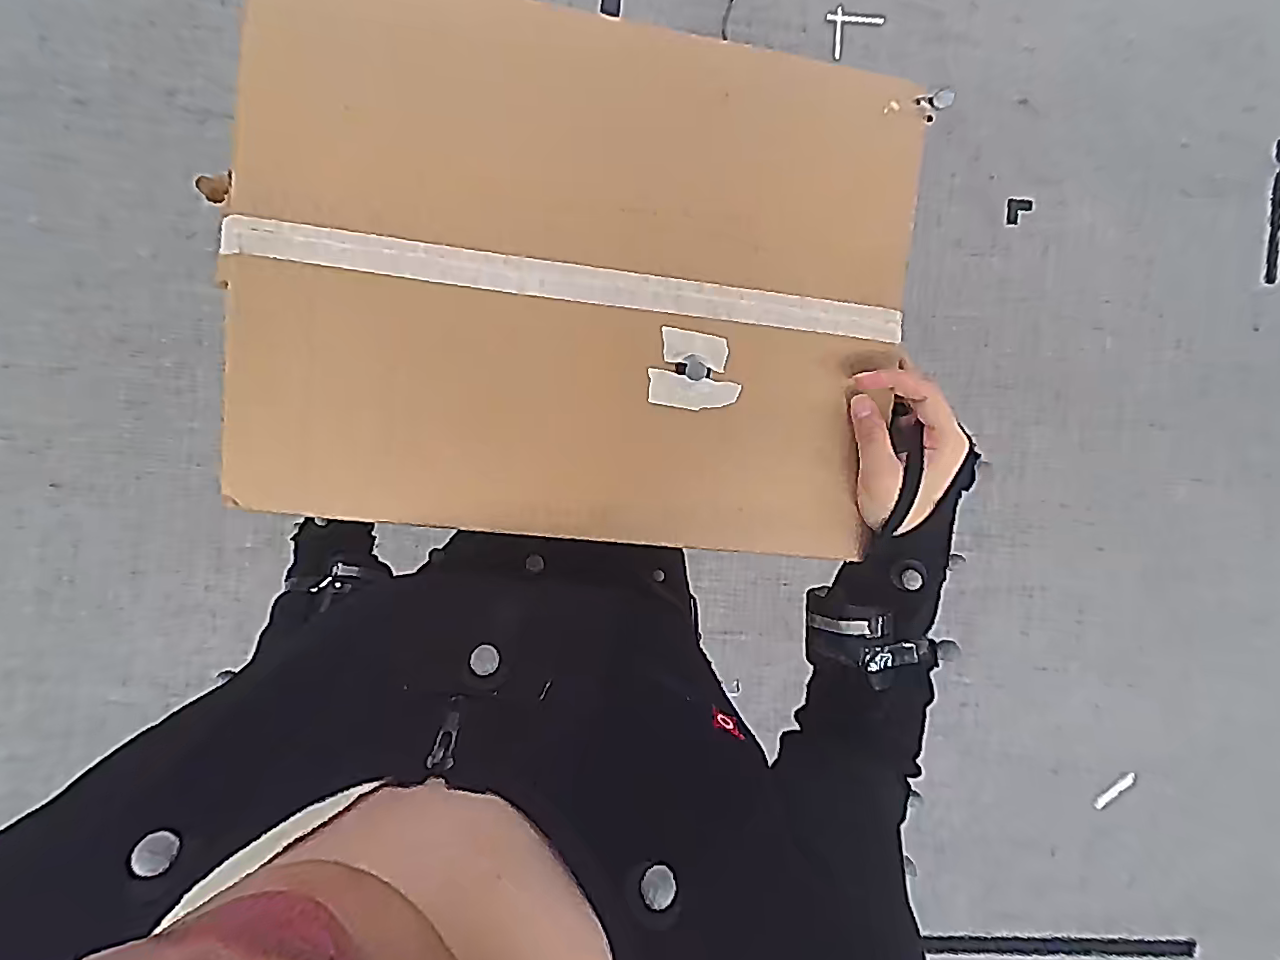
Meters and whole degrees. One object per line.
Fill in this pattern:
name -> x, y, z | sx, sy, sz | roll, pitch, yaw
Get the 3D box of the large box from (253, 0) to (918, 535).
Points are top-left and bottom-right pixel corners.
large box -> -0.045, -0.139, 0.487 | 0.408, 0.320, 0.320 | 5, 94, -9
